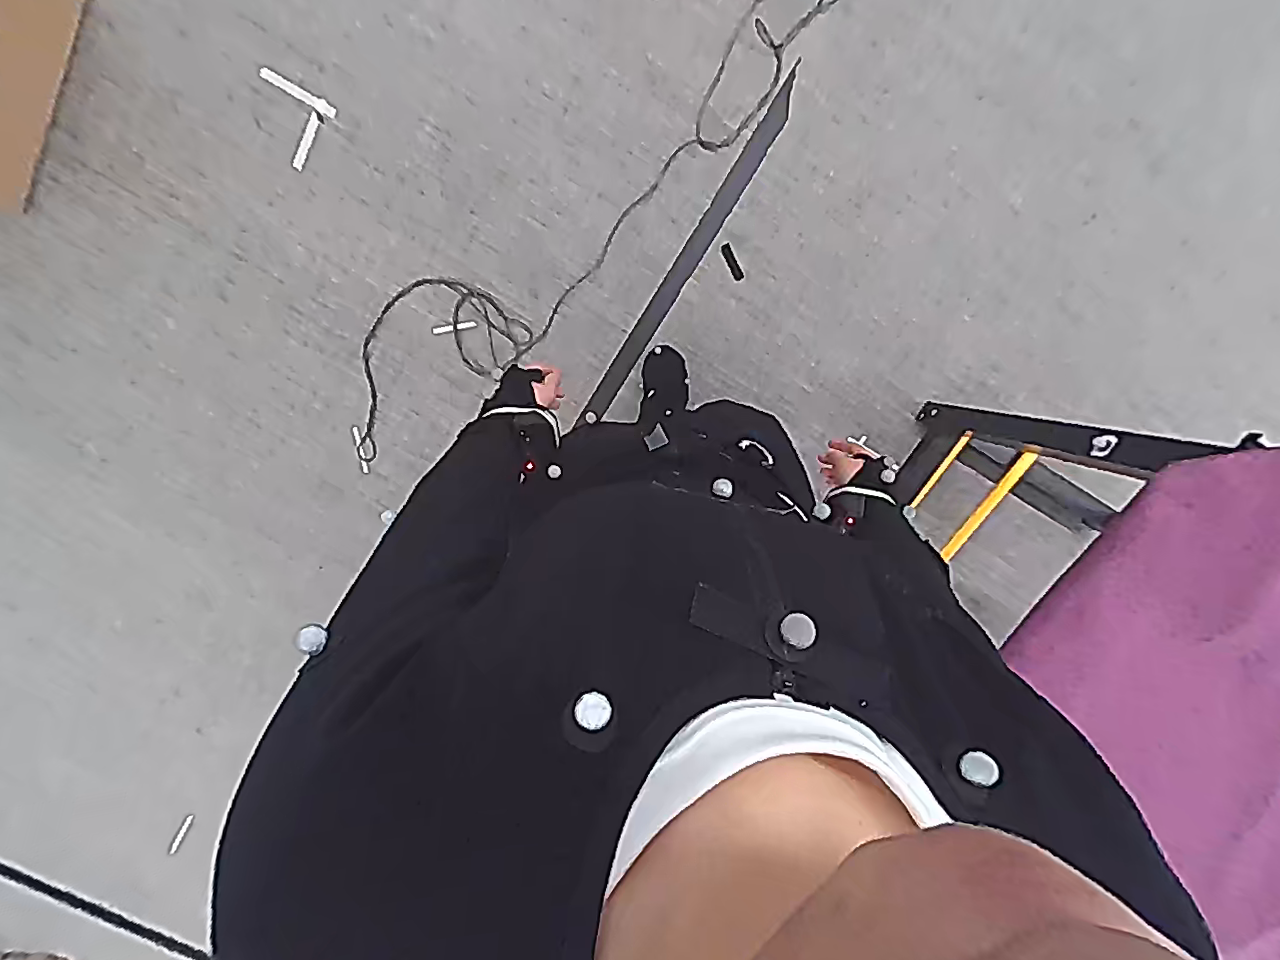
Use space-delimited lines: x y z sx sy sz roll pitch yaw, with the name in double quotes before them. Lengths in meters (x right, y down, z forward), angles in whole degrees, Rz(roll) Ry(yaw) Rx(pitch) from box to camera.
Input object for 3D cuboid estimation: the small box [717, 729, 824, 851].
"small box" 0.310 0.750 1.331 0.179 0.176 0.168 32 100 -7
